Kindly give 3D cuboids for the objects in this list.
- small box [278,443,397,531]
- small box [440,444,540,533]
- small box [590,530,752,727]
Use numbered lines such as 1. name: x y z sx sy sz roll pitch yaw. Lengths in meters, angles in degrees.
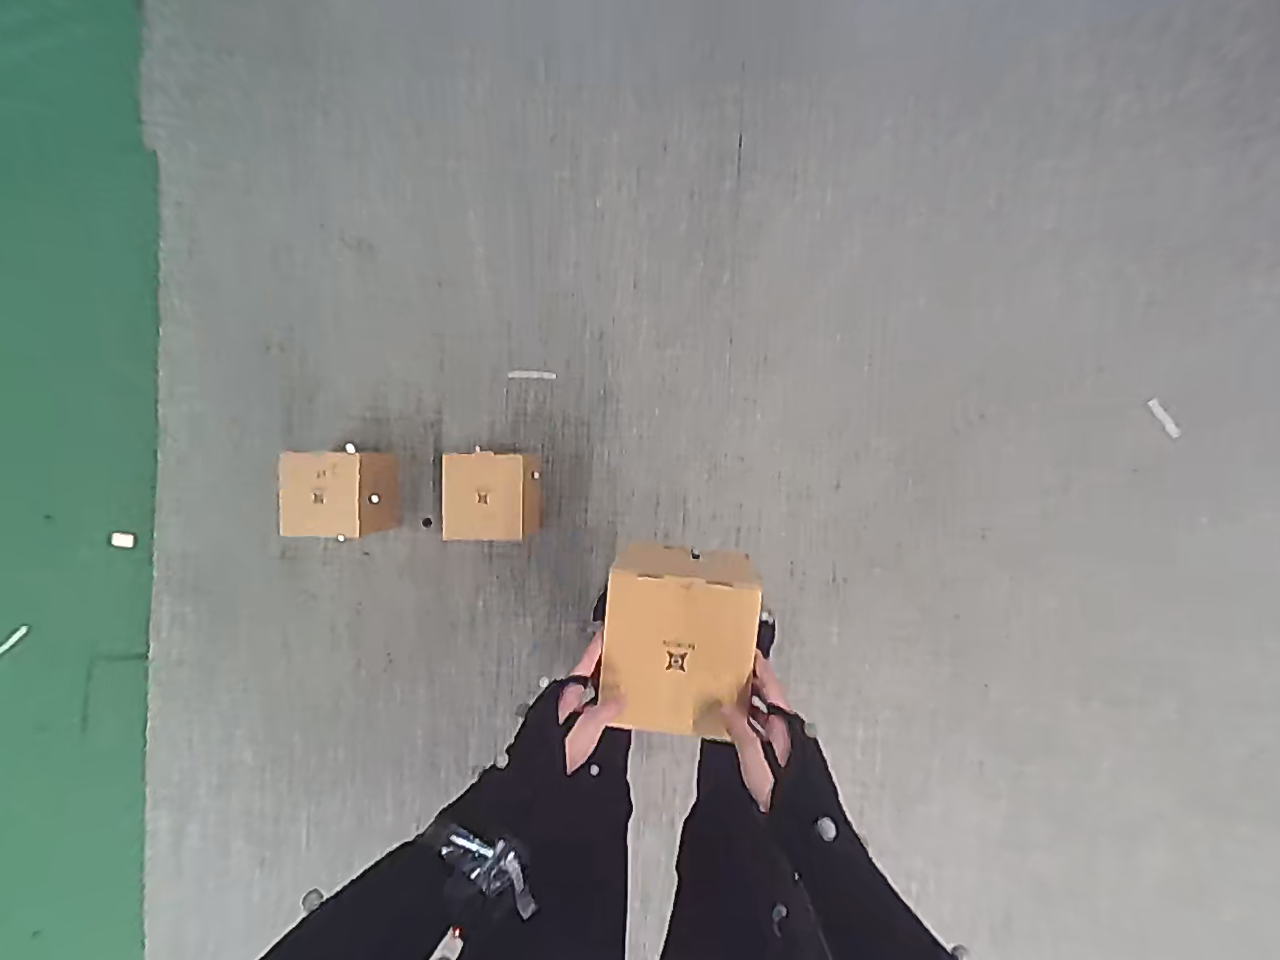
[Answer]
1. small box: -0.642 0.011 1.164 0.168 0.176 0.179 1 92 2
2. small box: -0.314 0.015 1.155 0.168 0.176 0.179 1 92 2
3. small box: 0.040 0.168 0.665 0.168 0.176 0.179 5 95 5
